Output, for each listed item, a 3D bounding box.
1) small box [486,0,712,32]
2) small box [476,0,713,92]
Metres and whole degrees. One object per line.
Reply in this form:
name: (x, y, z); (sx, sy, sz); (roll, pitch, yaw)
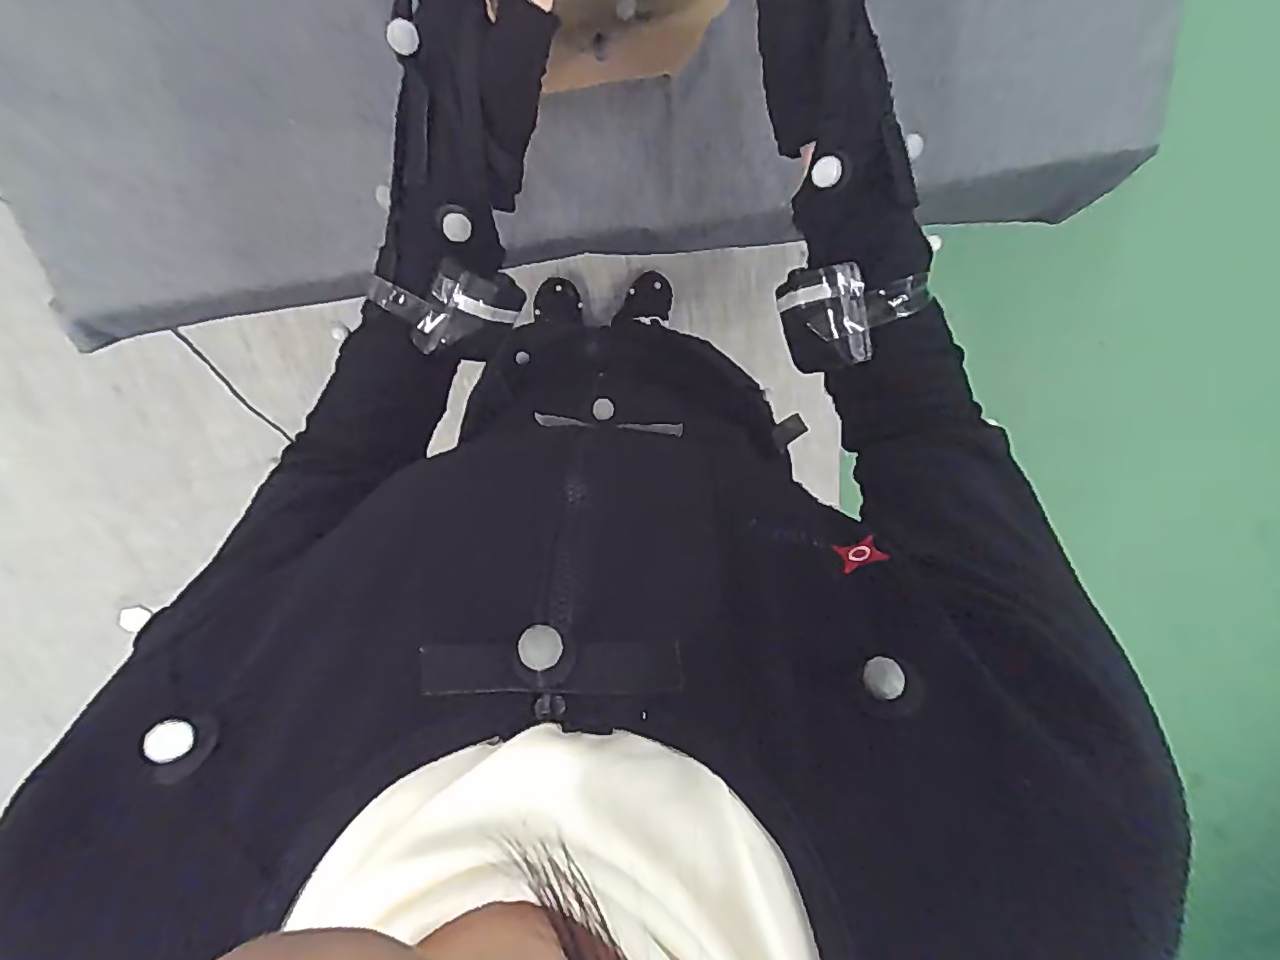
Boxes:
small box: (-0.025, -0.371, 0.285); (0.168, 0.176, 0.179); (-12, 115, -4)
small box: (-0.049, -0.437, 0.432); (0.179, 0.176, 0.168); (-12, 114, -5)
